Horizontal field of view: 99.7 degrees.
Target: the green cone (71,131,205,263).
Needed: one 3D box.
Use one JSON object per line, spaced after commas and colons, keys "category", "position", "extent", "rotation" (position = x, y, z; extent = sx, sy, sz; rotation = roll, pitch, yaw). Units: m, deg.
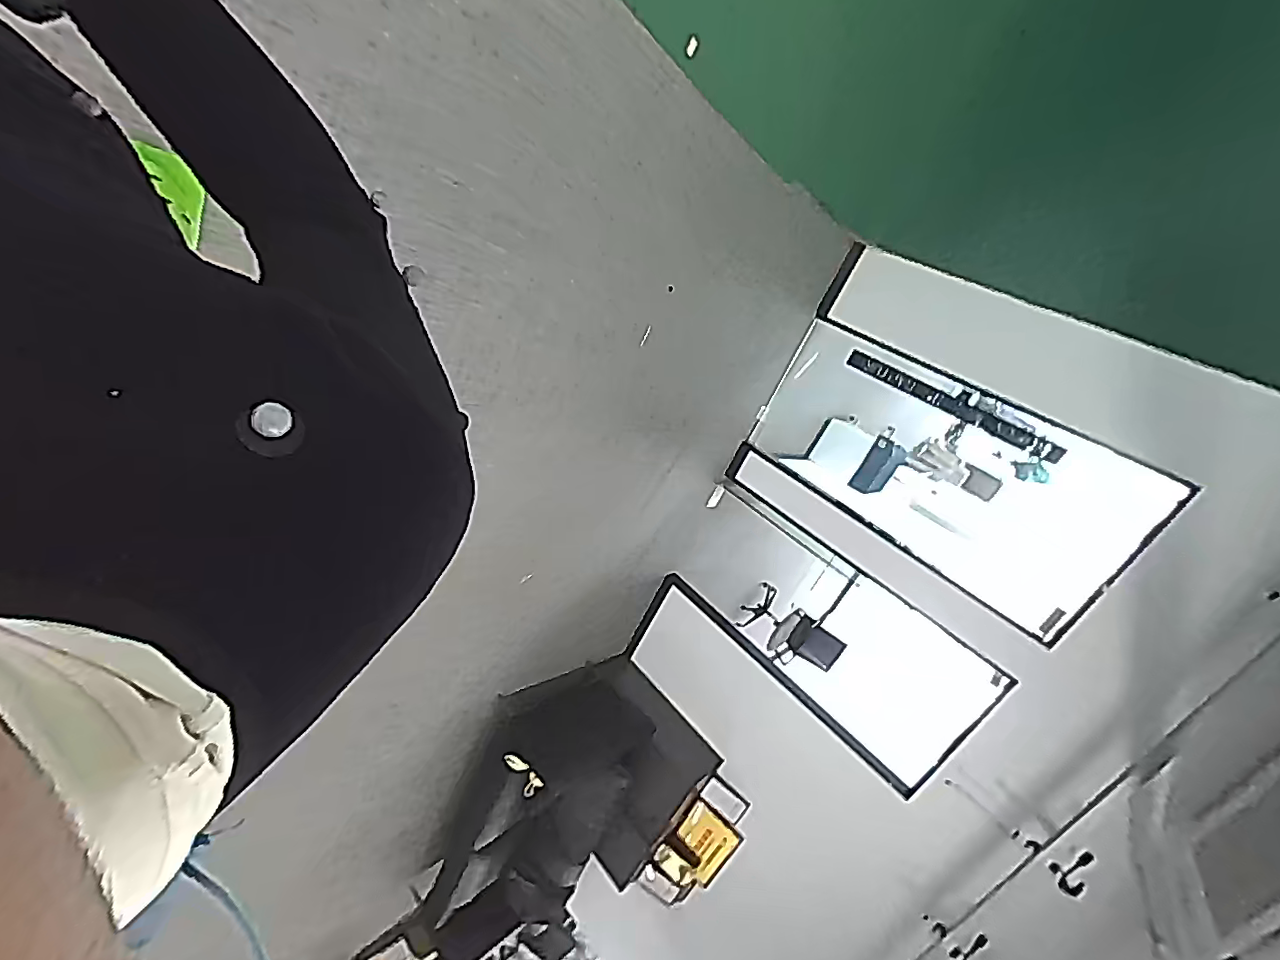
{"category": "green cone", "position": [-0.944, -0.503, 1.052], "extent": [0.202, 0.368, 0.200], "rotation": [0, 122, -51]}
